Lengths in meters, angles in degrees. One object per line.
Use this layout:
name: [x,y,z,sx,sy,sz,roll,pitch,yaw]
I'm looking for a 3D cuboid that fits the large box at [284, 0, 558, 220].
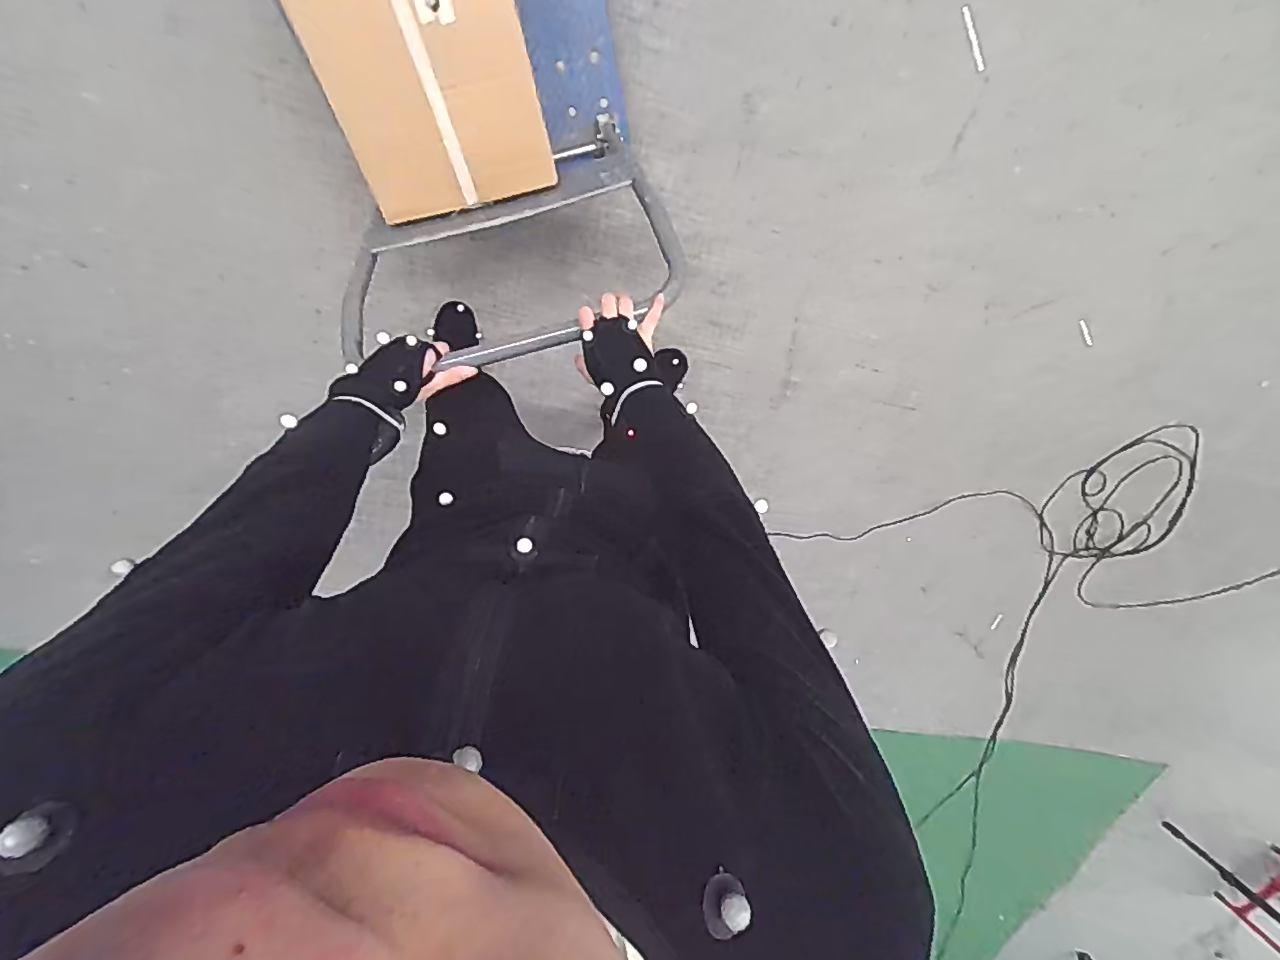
large box: [-0.352,-0.731,0.925,0.320,0.320,0.408,-15,133,-1]
